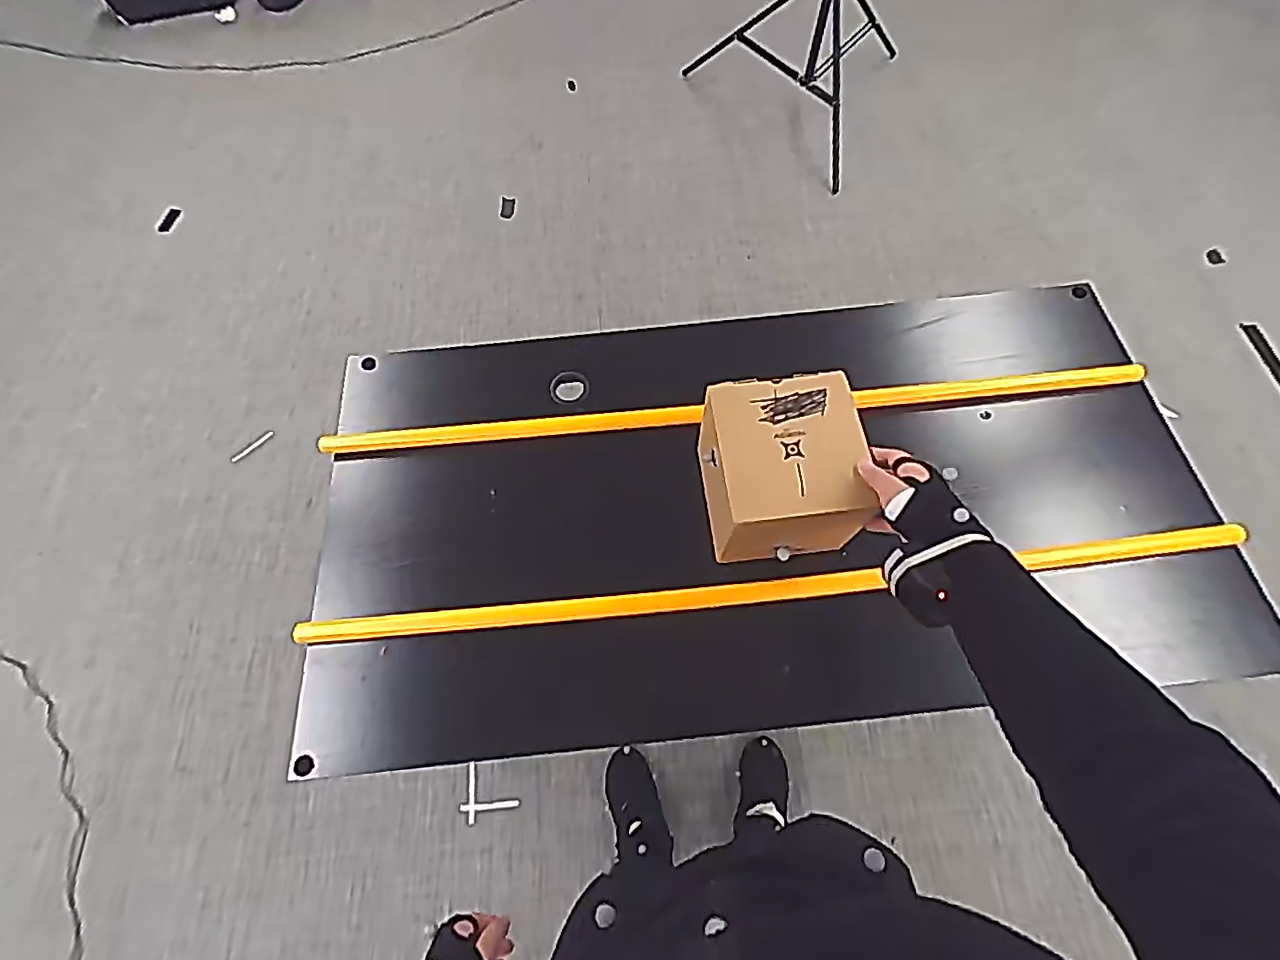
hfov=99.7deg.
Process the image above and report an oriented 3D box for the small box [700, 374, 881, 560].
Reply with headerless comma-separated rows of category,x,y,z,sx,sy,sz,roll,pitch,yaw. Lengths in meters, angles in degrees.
small box,0.172,-0.010,0.686,0.168,0.176,0.179,-6,67,0
